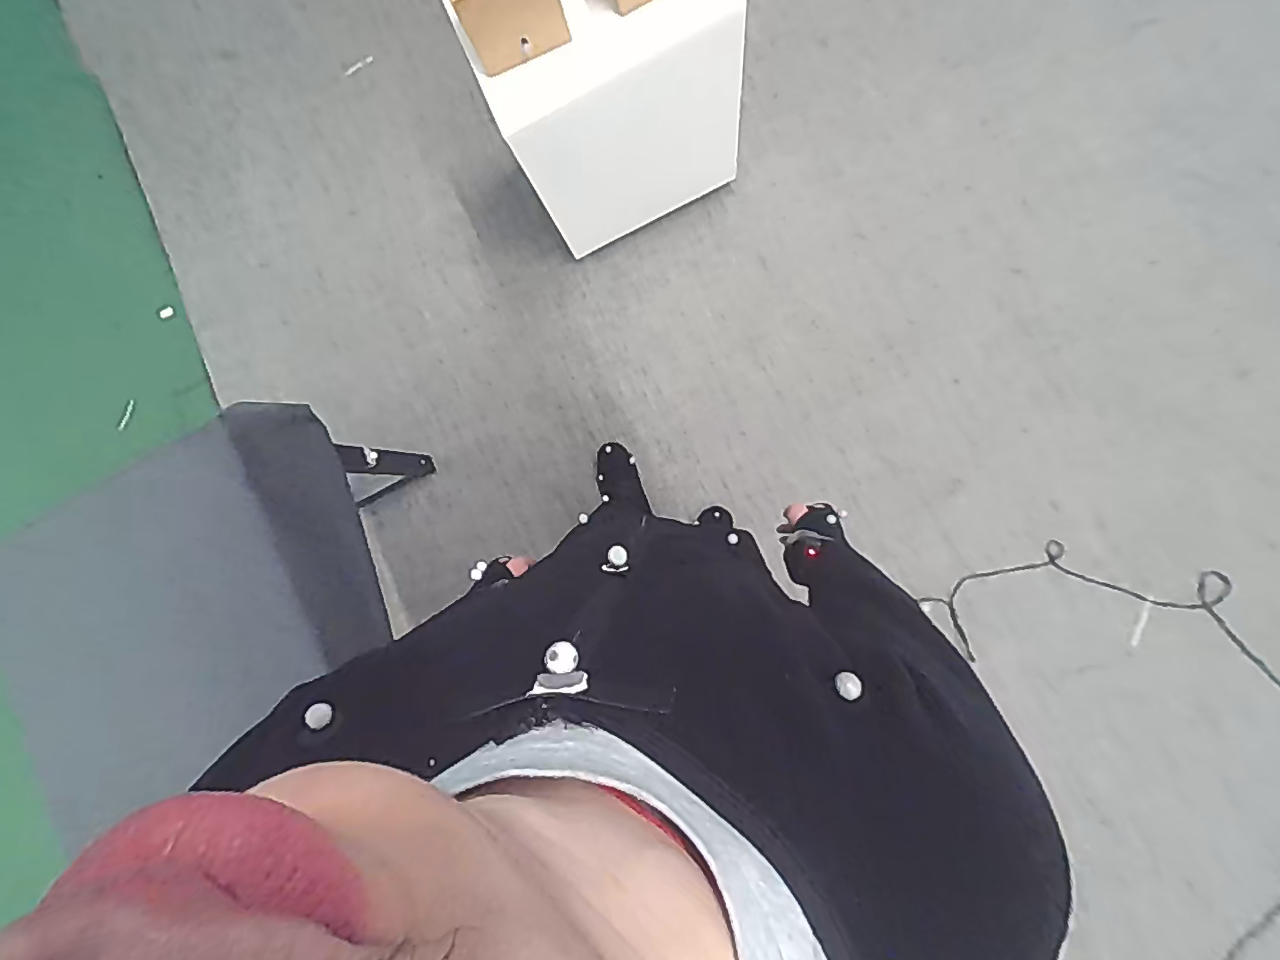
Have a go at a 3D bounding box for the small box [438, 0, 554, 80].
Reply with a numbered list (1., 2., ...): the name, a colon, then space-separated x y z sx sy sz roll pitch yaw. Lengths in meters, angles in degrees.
1. small box: -0.261 -0.857 0.940 0.179 0.176 0.168 -21 85 4

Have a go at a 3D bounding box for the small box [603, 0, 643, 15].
1. small box: -0.017 -0.959 0.919 0.179 0.176 0.168 -25 86 4
